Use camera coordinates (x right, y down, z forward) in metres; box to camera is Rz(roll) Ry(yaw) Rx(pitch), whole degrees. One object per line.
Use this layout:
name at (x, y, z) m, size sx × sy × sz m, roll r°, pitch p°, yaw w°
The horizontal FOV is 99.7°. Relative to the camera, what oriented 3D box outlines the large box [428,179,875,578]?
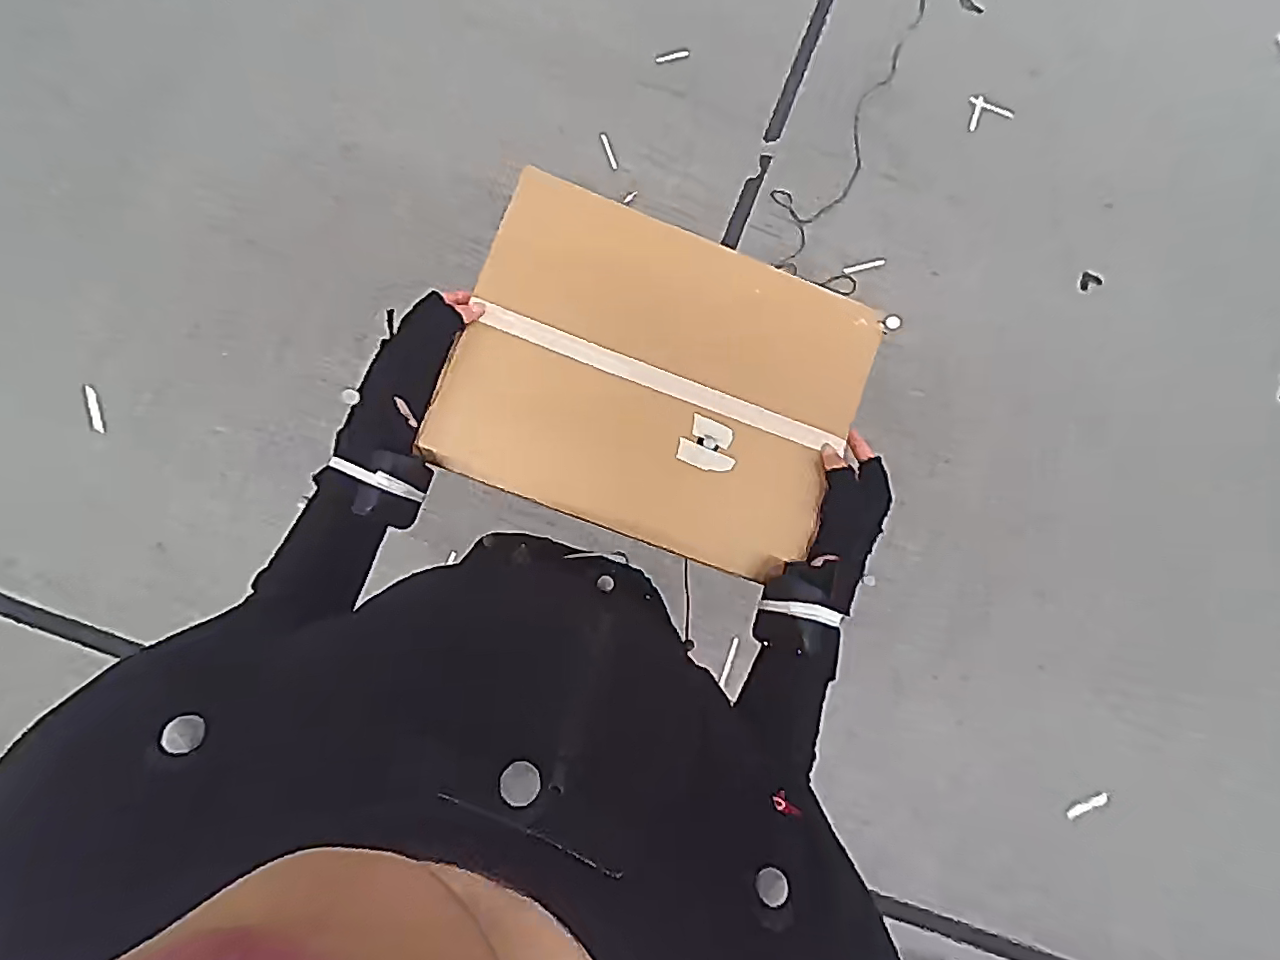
large box at (0.005, -0.096, 0.705) m, size 0.408 × 0.320 × 0.320 m, roll 20°, pitch 86°, yaw -6°
